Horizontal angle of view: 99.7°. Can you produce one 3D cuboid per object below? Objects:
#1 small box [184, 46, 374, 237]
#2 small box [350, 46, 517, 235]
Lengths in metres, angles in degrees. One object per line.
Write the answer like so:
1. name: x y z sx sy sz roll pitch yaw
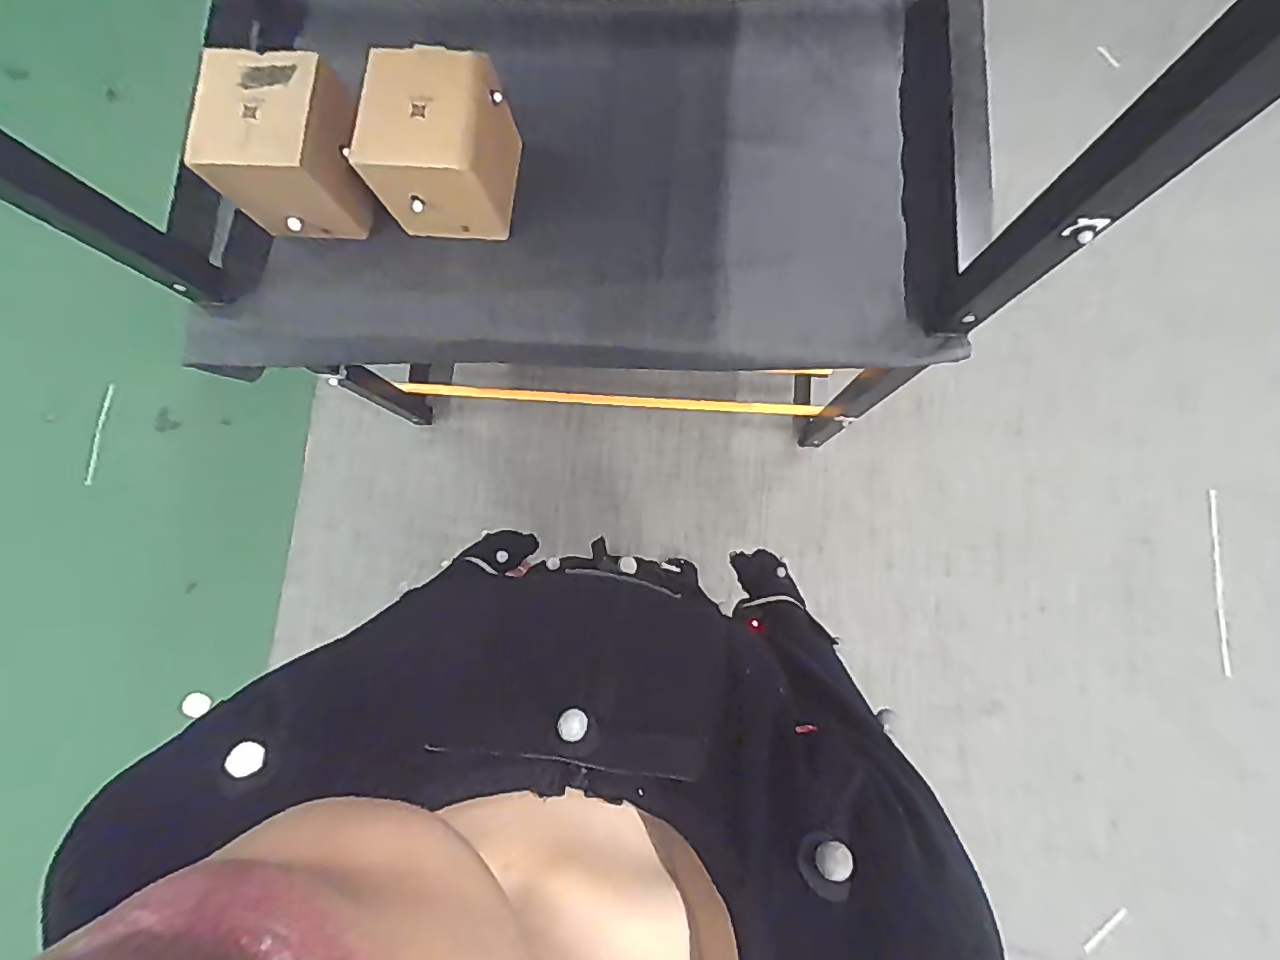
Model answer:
1. small box: -0.517 -0.494 0.806 0.168 0.176 0.179 4 82 3
2. small box: -0.290 -0.487 0.797 0.168 0.176 0.179 5 82 3
